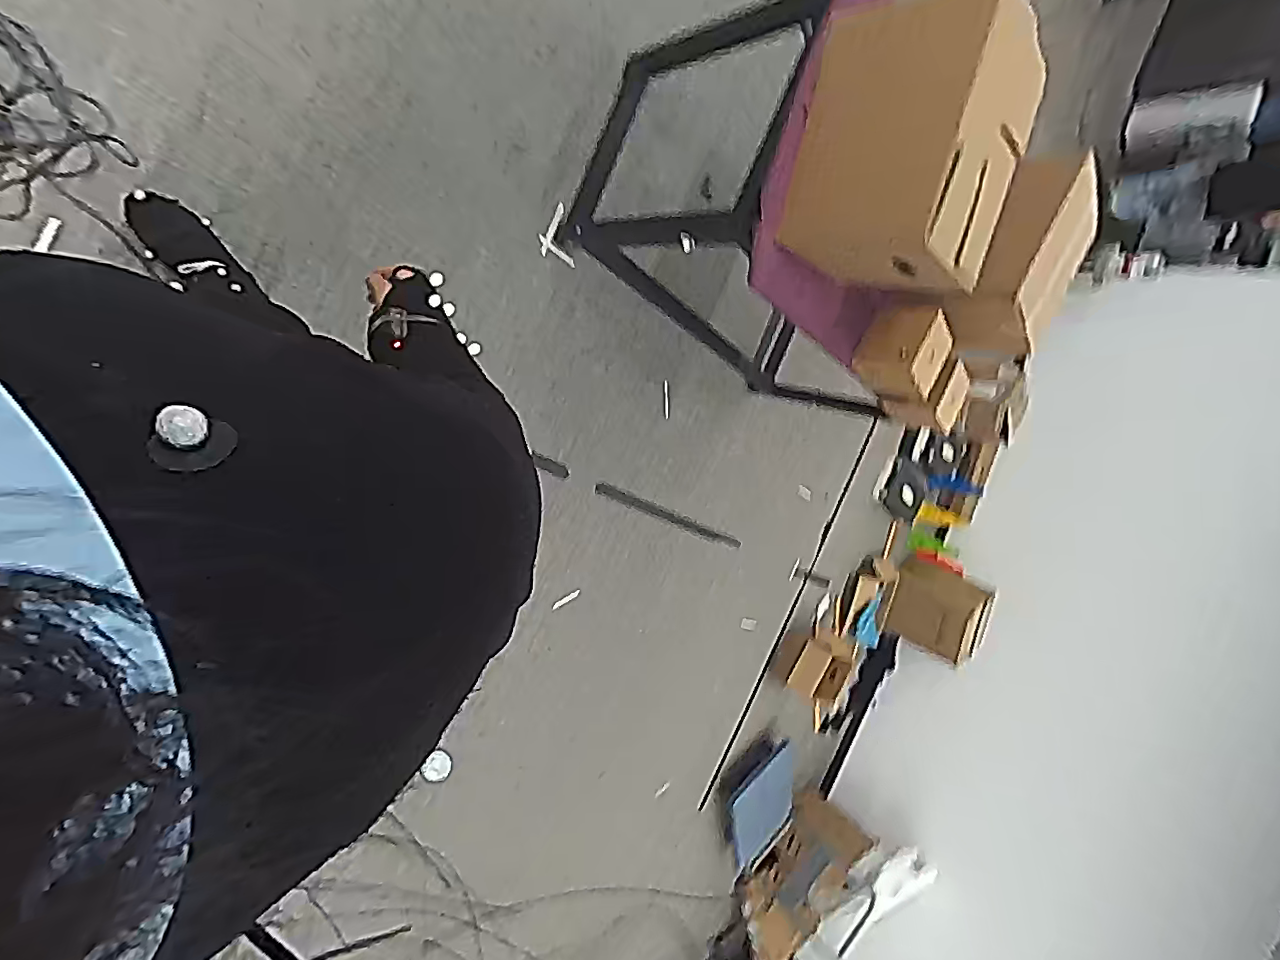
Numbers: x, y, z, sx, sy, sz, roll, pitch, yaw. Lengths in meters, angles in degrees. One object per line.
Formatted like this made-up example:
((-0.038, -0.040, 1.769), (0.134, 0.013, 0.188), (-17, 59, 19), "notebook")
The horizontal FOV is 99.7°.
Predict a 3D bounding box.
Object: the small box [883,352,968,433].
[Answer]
((0.867, -0.270, 1.654), (0.168, 0.176, 0.179), (28, 87, -46), "small box")
